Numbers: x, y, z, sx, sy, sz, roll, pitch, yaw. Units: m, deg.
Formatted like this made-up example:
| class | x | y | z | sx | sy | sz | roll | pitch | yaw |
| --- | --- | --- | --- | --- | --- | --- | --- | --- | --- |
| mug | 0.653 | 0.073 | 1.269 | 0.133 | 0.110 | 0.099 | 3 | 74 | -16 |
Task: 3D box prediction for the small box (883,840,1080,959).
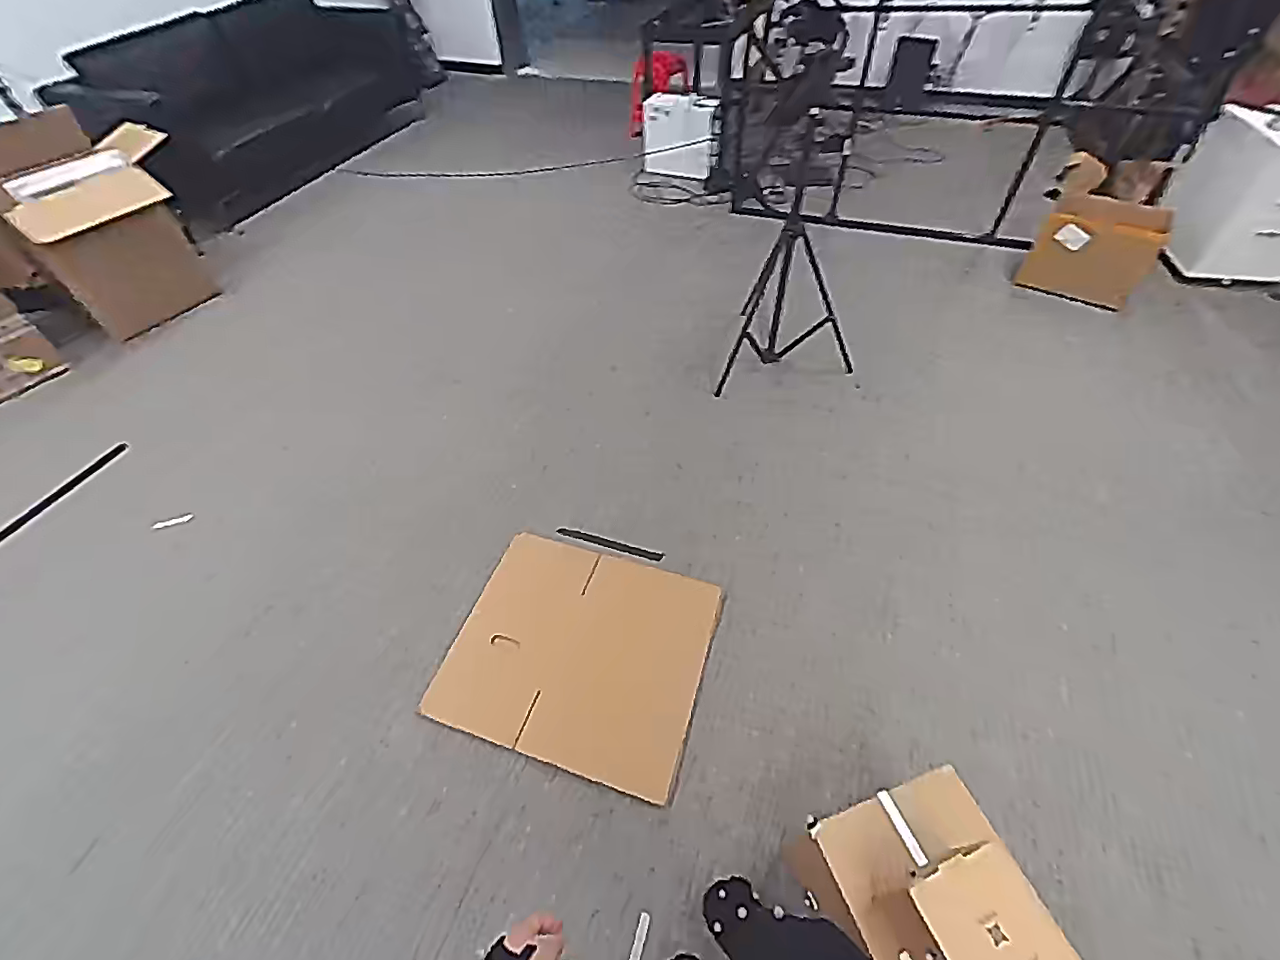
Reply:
| class | x | y | z | sx | sy | sz | roll | pitch | yaw |
| --- | --- | --- | --- | --- | --- | --- | --- | --- | --- |
| small box | 0.505 | 0.686 | 0.819 | 0.168 | 0.176 | 0.179 | -19 | 53 | -11 |
